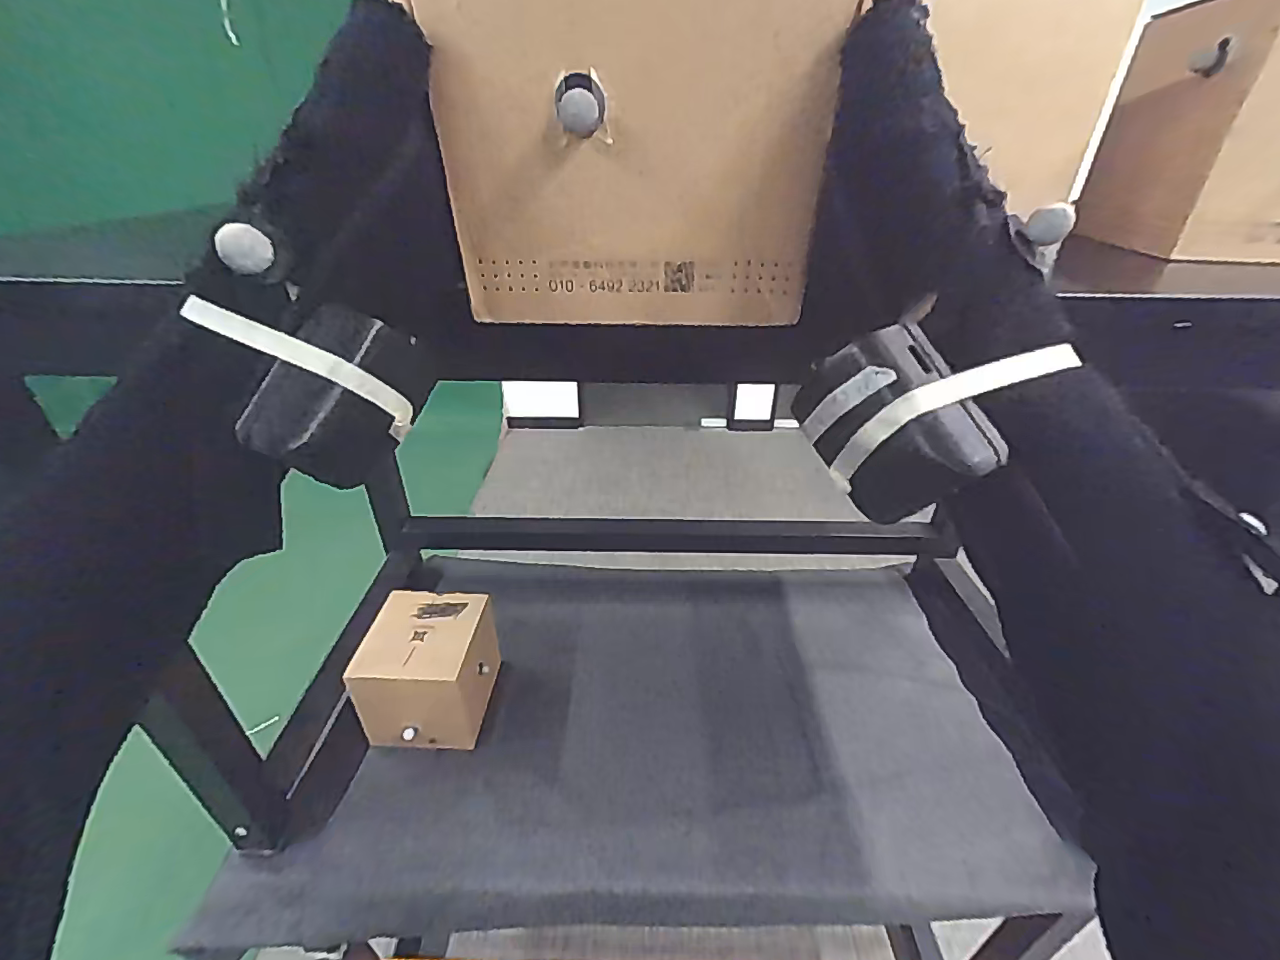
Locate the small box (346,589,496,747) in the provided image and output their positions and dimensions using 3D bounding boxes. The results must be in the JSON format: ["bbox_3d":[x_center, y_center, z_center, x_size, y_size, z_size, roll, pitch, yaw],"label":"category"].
[{"bbox_3d":[-0.338,0.300,0.878,0.168,0.176,0.179,2,32,1],"label":"small box"}]

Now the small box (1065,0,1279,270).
[{"bbox_3d":[0.488,-0.266,0.424,0.168,0.176,0.179,7,32,9],"label":"small box"}]
